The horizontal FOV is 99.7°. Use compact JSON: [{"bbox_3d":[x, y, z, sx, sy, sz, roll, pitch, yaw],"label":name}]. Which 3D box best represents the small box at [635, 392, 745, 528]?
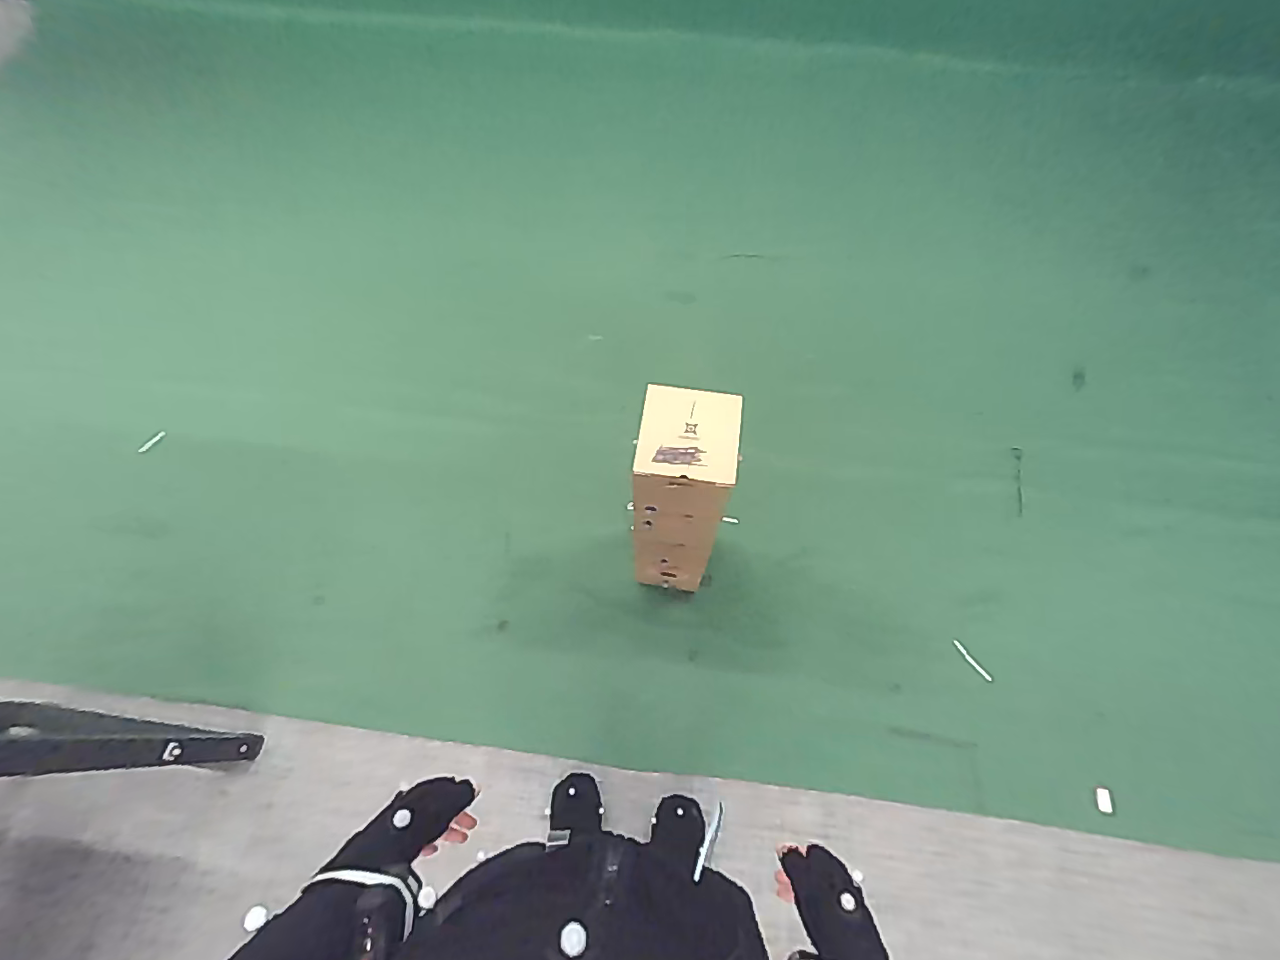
[{"bbox_3d":[0.086,-0.029,0.963,0.168,0.176,0.179,8,64,4],"label":"small box"}]

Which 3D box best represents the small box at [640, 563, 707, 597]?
[{"bbox_3d":[0.093,0.188,1.404,0.168,0.176,0.179,9,64,5],"label":"small box"}]

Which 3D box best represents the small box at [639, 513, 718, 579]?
[{"bbox_3d":[0.090,0.115,1.259,0.168,0.176,0.179,7,64,4],"label":"small box"}]
